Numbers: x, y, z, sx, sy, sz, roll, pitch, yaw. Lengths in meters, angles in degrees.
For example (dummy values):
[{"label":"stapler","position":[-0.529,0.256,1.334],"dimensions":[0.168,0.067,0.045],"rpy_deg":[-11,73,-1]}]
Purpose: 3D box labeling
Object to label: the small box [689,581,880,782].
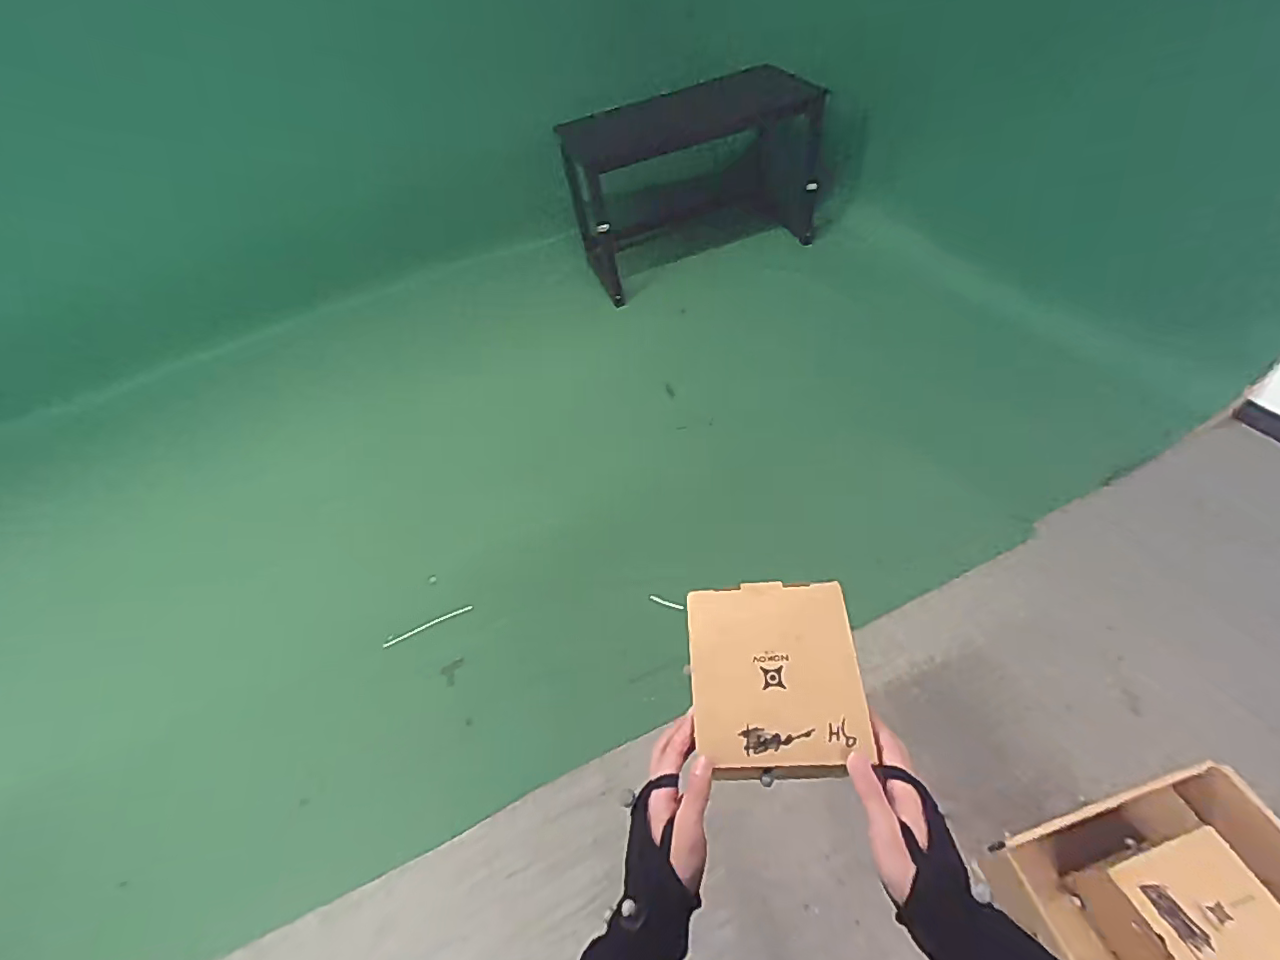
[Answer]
[{"label":"small box","position":[0.143,0.227,0.598],"dimensions":[0.168,0.176,0.179],"rpy_deg":[-5,57,7]}]
